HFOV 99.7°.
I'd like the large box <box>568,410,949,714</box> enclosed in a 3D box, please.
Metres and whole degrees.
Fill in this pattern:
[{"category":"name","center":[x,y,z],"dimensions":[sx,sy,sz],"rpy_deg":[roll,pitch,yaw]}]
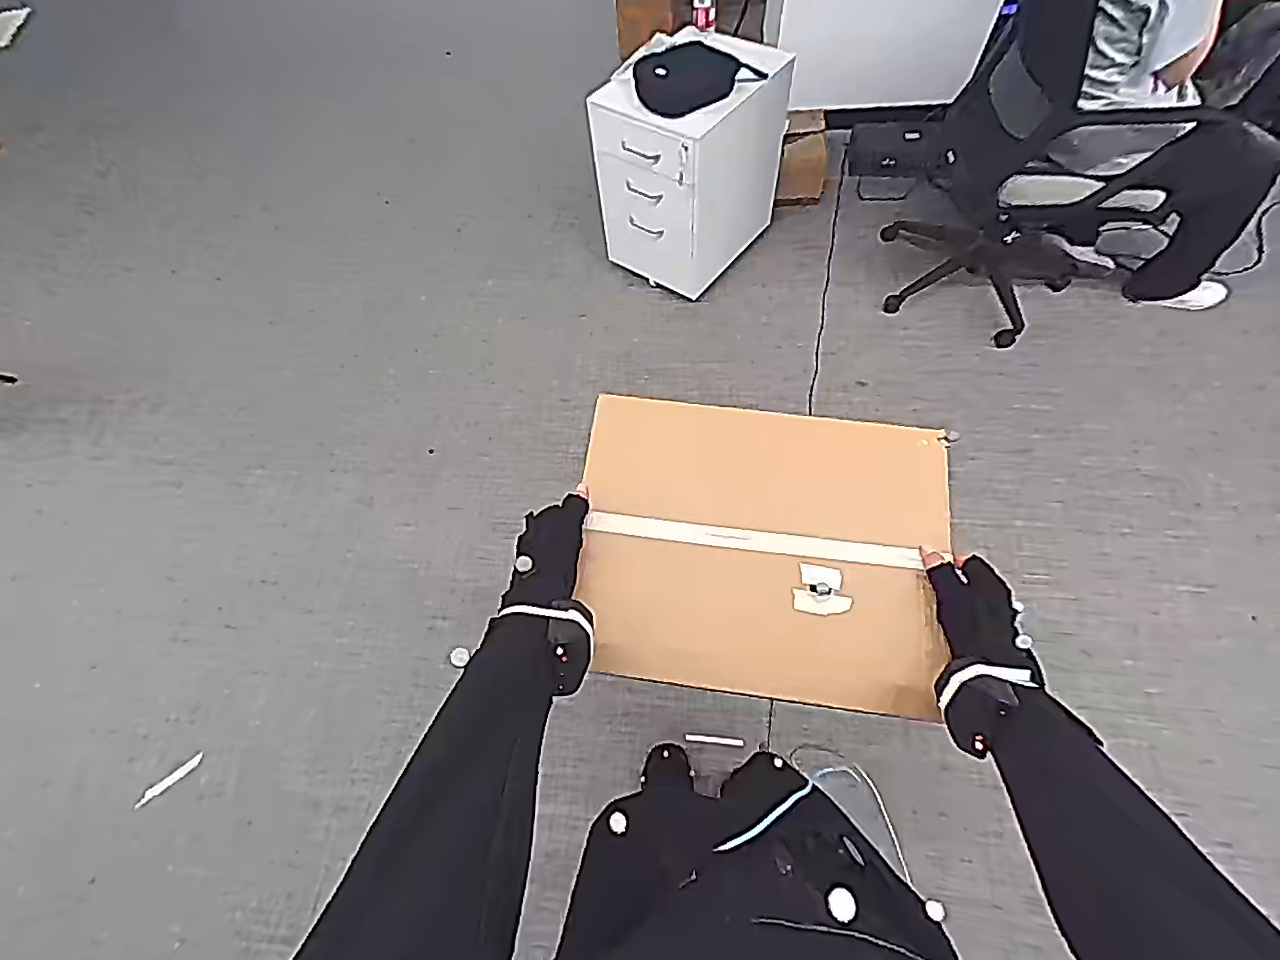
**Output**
[{"category":"large box","center":[0.138,0.124,0.748],"dimensions":[0.408,0.320,0.320],"rpy_deg":[7,72,4]}]
